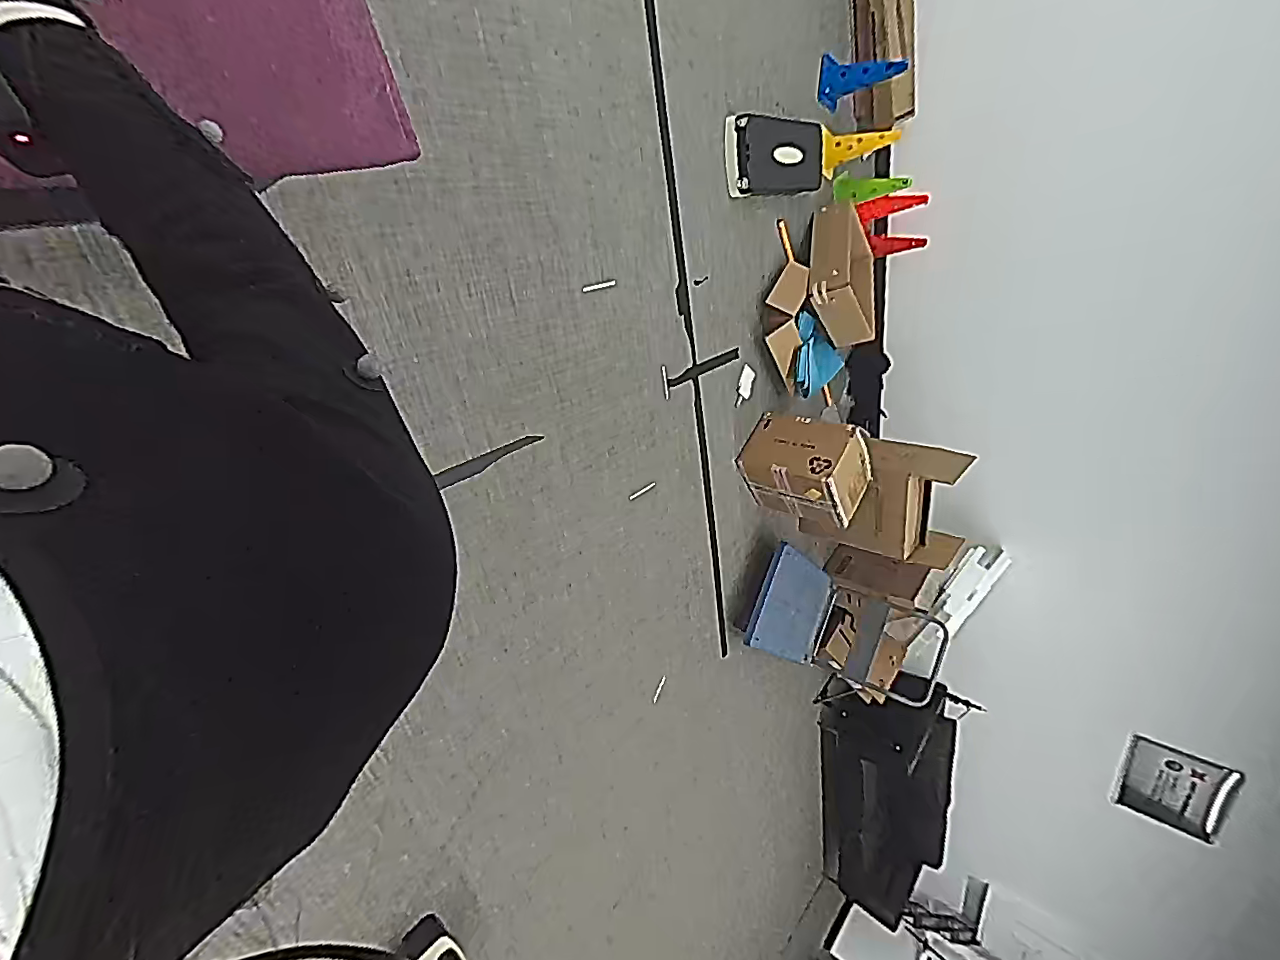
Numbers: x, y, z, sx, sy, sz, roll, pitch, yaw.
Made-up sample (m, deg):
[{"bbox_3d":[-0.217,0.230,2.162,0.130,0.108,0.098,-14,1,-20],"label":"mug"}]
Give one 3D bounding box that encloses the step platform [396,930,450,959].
[{"bbox_3d":[-0.841,1.734,1.563,0.684,0.204,0.286,-33,124,-40],"label":"step platform"}]
